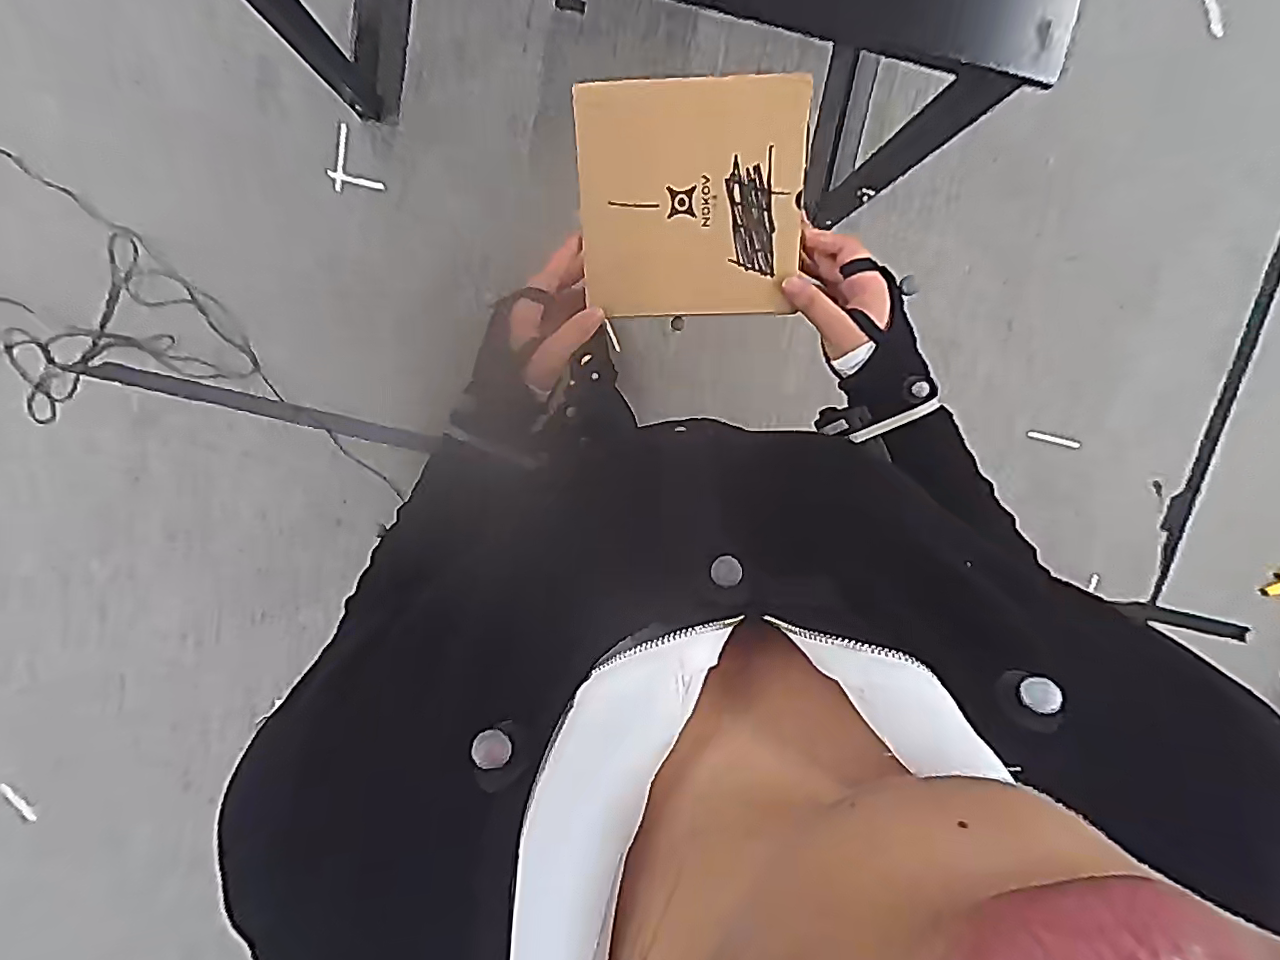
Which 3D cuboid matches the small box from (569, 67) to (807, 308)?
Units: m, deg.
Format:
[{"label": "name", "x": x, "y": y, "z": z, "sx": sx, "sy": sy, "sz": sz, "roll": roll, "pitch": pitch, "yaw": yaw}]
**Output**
[{"label": "small box", "x": 0.036, "y": -0.247, "z": 0.492, "sx": 0.179, "sy": 0.176, "sz": 0.168, "roll": -1, "pitch": 109, "yaw": 1}]
